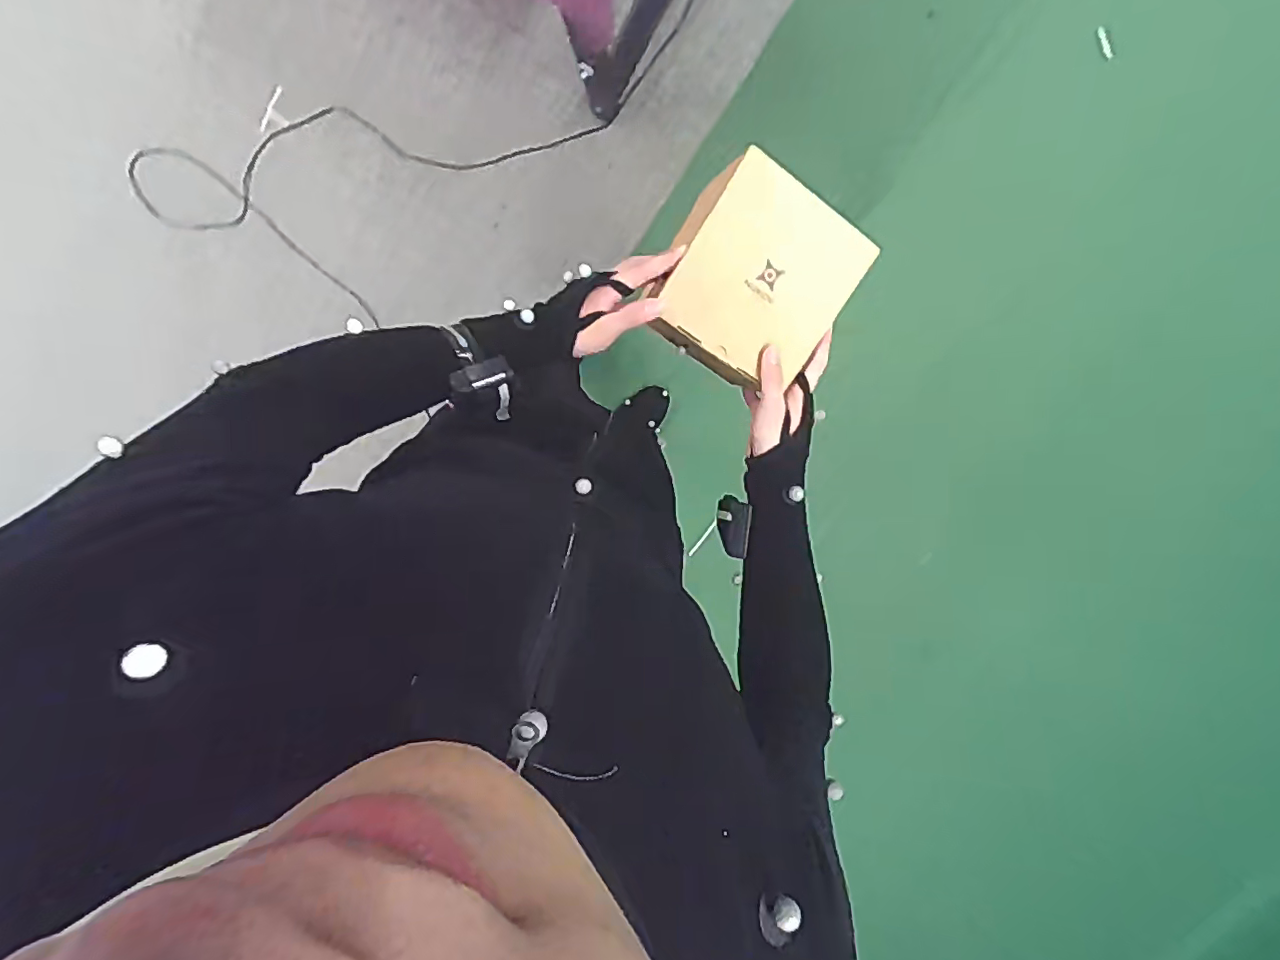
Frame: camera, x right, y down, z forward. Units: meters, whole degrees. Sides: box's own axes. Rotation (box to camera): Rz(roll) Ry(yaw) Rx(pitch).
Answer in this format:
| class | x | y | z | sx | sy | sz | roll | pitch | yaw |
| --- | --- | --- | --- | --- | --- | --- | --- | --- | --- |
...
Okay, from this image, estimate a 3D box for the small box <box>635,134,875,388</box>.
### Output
| class | x | y | z | sx | sy | sz | roll | pitch | yaw |
| --- | --- | --- | --- | --- | --- | --- | --- | --- | --- |
| small box | 0.108 | -0.227 | 0.597 | 0.168 | 0.176 | 0.179 | 29 | 101 | -16 |
